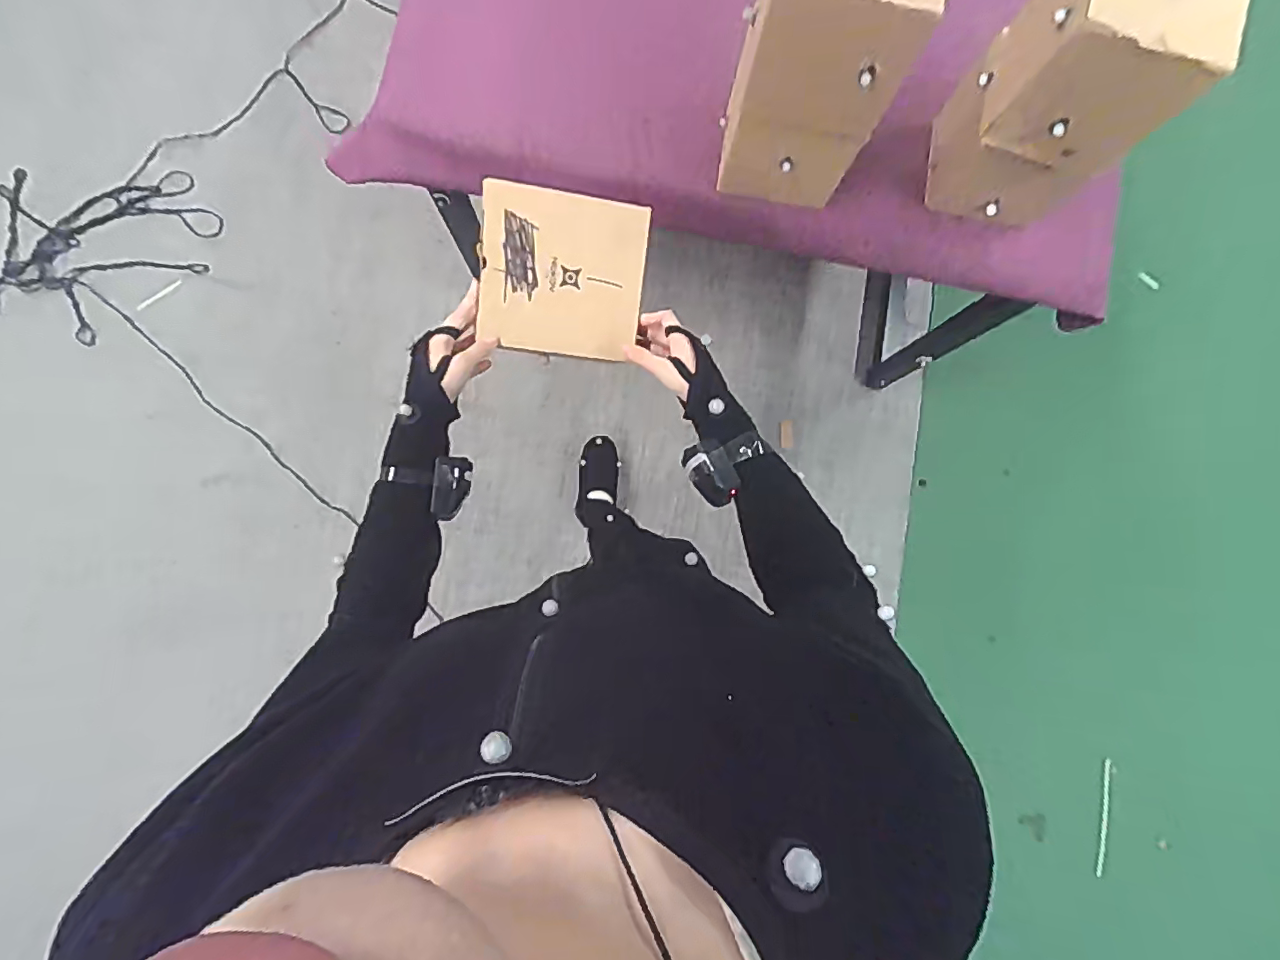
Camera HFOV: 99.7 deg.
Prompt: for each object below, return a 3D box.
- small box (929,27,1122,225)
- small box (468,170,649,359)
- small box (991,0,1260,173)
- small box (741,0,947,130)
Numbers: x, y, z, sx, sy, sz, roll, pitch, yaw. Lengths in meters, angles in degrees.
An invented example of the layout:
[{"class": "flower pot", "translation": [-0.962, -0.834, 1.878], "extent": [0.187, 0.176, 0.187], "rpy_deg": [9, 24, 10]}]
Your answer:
[{"class": "small box", "translation": [0.566, -0.508, 0.801], "extent": [0.179, 0.176, 0.168], "rpy_deg": [10, 82, 0]}, {"class": "small box", "translation": [-0.098, -0.238, 0.643], "extent": [0.179, 0.176, 0.168], "rpy_deg": [5, 101, -11]}, {"class": "small box", "translation": [0.556, -0.512, 0.635], "extent": [0.168, 0.176, 0.179], "rpy_deg": [18, 83, 0]}, {"class": "small box", "translation": [0.230, -0.546, 0.623], "extent": [0.179, 0.176, 0.168], "rpy_deg": [11, 81, 0]}]
